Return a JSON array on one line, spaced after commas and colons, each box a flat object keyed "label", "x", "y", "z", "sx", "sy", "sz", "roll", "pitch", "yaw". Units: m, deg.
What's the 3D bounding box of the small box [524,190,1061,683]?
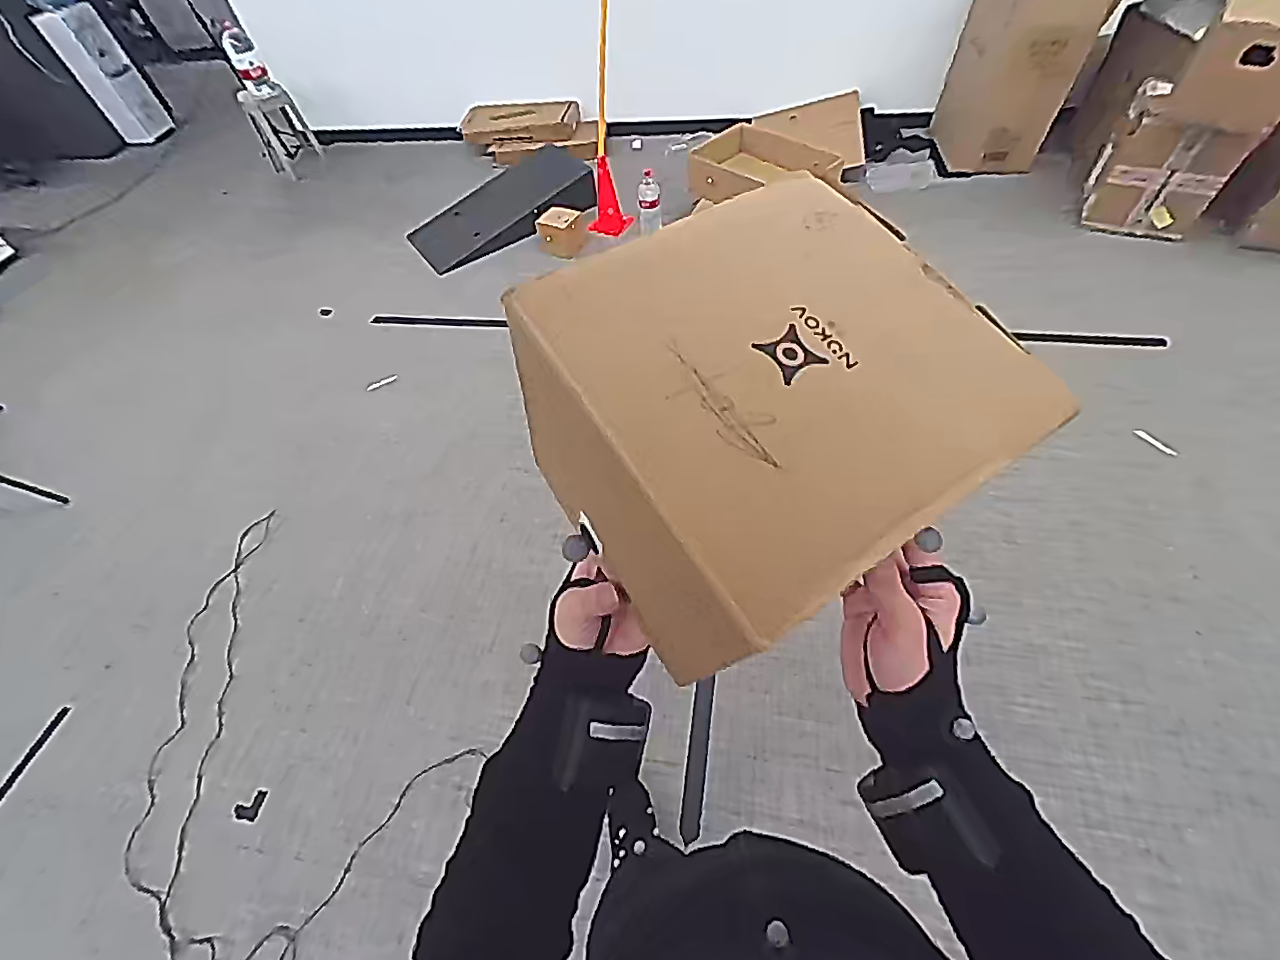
[{"label": "small box", "x": 0.057, "y": -0.011, "z": 0.299, "sx": 0.179, "sy": 0.176, "sz": 0.168, "roll": -31, "pitch": 72, "yaw": -17}]
